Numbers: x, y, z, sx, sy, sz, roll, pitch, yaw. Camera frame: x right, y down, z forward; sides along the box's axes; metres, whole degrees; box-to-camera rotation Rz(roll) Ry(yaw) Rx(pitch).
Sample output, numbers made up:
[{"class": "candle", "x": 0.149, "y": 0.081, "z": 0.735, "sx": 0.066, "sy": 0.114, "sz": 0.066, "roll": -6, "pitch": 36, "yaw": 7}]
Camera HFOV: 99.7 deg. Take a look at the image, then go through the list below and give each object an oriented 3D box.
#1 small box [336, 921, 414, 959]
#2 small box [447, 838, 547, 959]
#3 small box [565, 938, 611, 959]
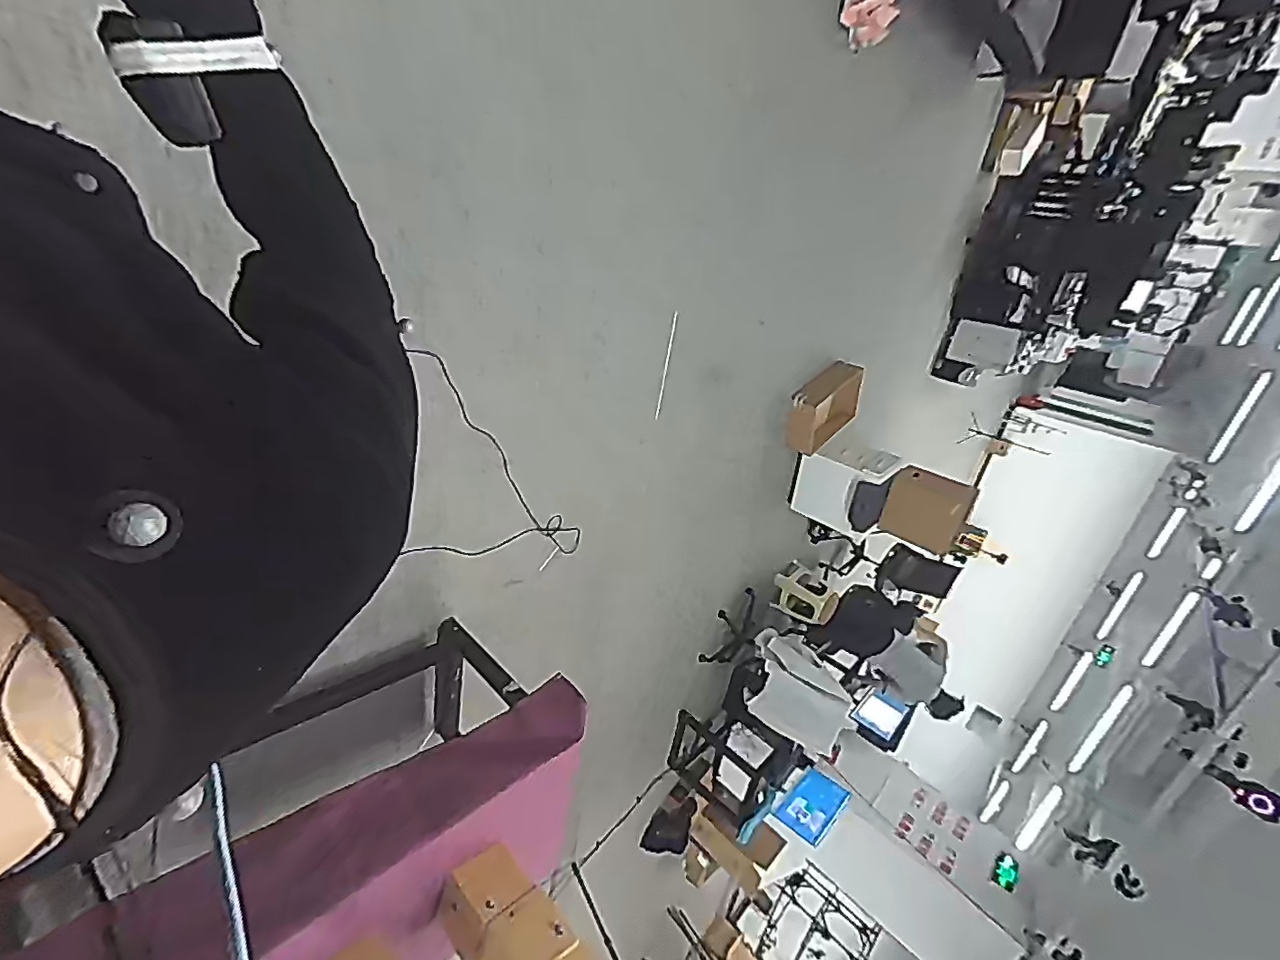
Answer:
[{"class": "small box", "x": -0.606, "y": 1.158, "z": 1.204, "sx": 0.179, "sy": 0.176, "sz": 0.168, "roll": -13, "pitch": 123, "yaw": -47}, {"class": "small box", "x": -0.383, "y": 1.114, "z": 1.448, "sx": 0.179, "sy": 0.176, "sz": 0.168, "roll": 1, "pitch": 112, "yaw": -50}, {"class": "small box", "x": -0.143, "y": 1.251, "z": 1.270, "sx": 0.179, "sy": 0.176, "sz": 0.168, "roll": 11, "pitch": 104, "yaw": -53}]
